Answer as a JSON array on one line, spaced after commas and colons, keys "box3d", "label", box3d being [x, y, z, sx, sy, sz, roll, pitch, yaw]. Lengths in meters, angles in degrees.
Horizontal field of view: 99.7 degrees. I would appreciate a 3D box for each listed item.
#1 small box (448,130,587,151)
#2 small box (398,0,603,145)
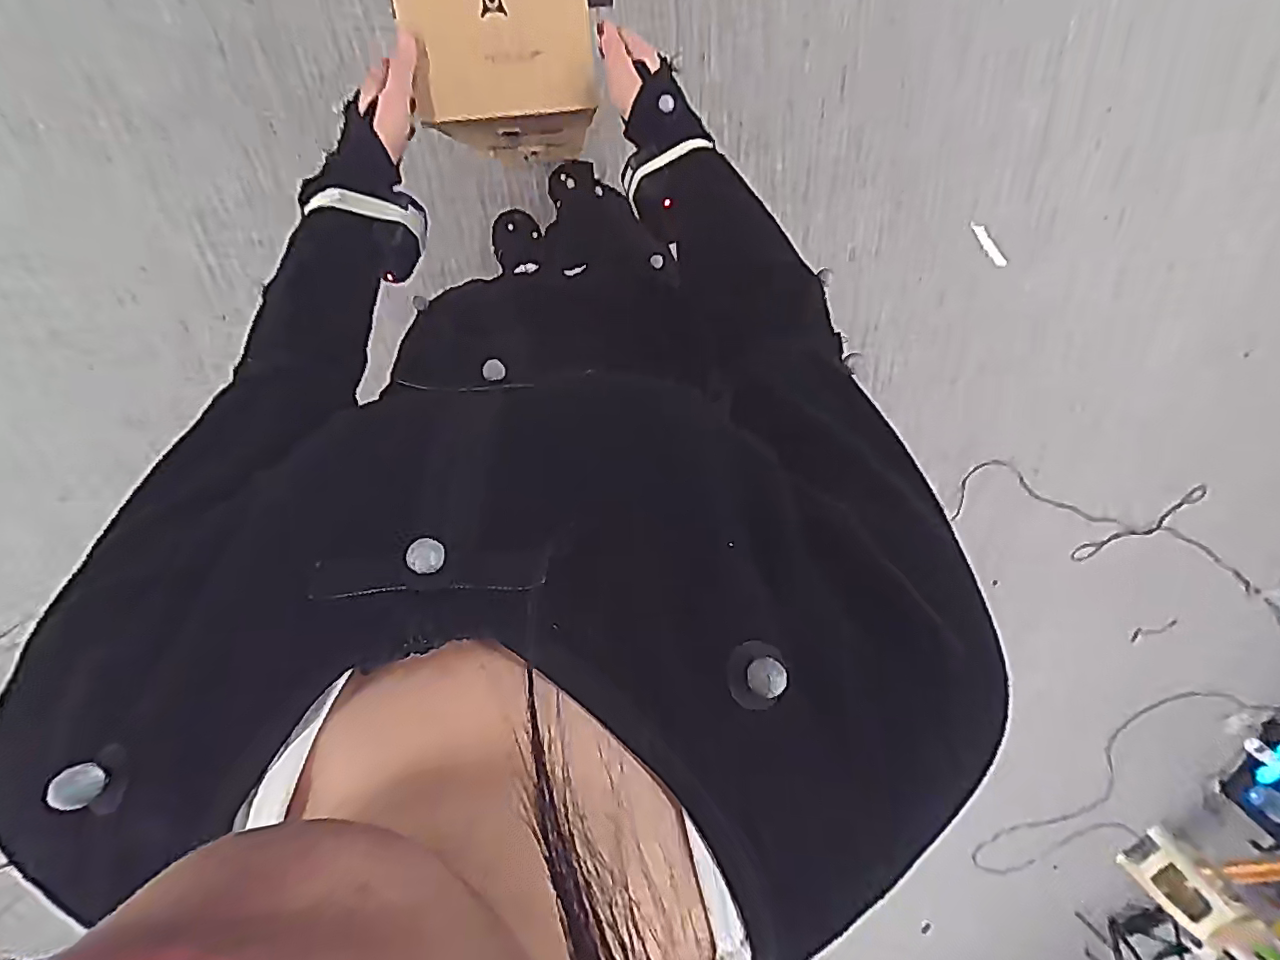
[{"box3d": [-0.154, -0.516, 0.671, 0.168, 0.176, 0.179, -6, 117, -5], "label": "small box"}, {"box3d": [-0.131, -0.442, 0.528, 0.168, 0.176, 0.179, -7, 119, -3], "label": "small box"}]
